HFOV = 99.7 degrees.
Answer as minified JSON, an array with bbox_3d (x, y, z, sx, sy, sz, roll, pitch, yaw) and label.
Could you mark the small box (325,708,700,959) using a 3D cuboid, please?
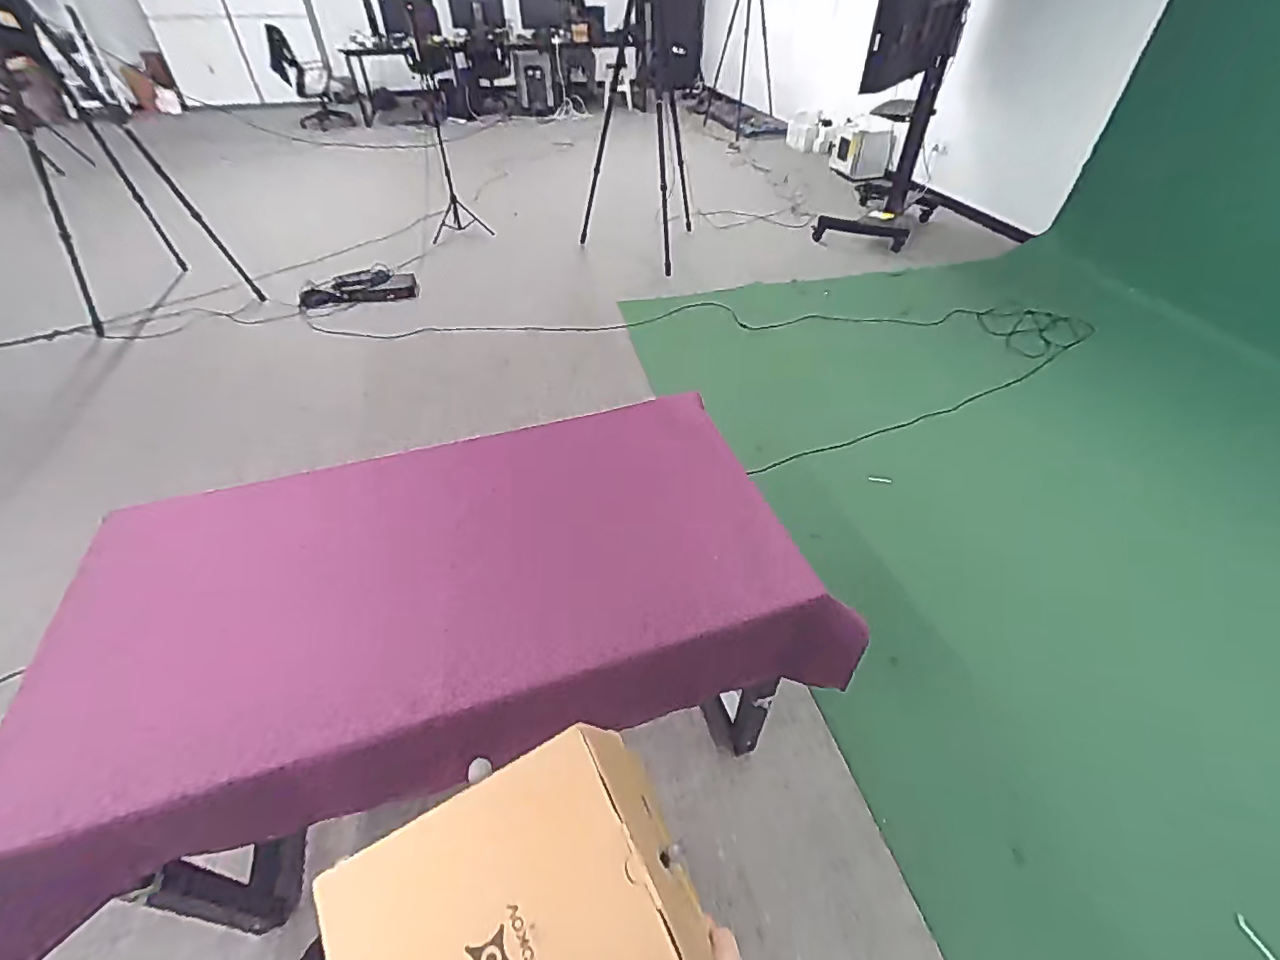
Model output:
[{"bbox_3d":[-0.068,0.283,0.367,0.179,0.176,0.168,-27,63,-9],"label":"small box"}]
